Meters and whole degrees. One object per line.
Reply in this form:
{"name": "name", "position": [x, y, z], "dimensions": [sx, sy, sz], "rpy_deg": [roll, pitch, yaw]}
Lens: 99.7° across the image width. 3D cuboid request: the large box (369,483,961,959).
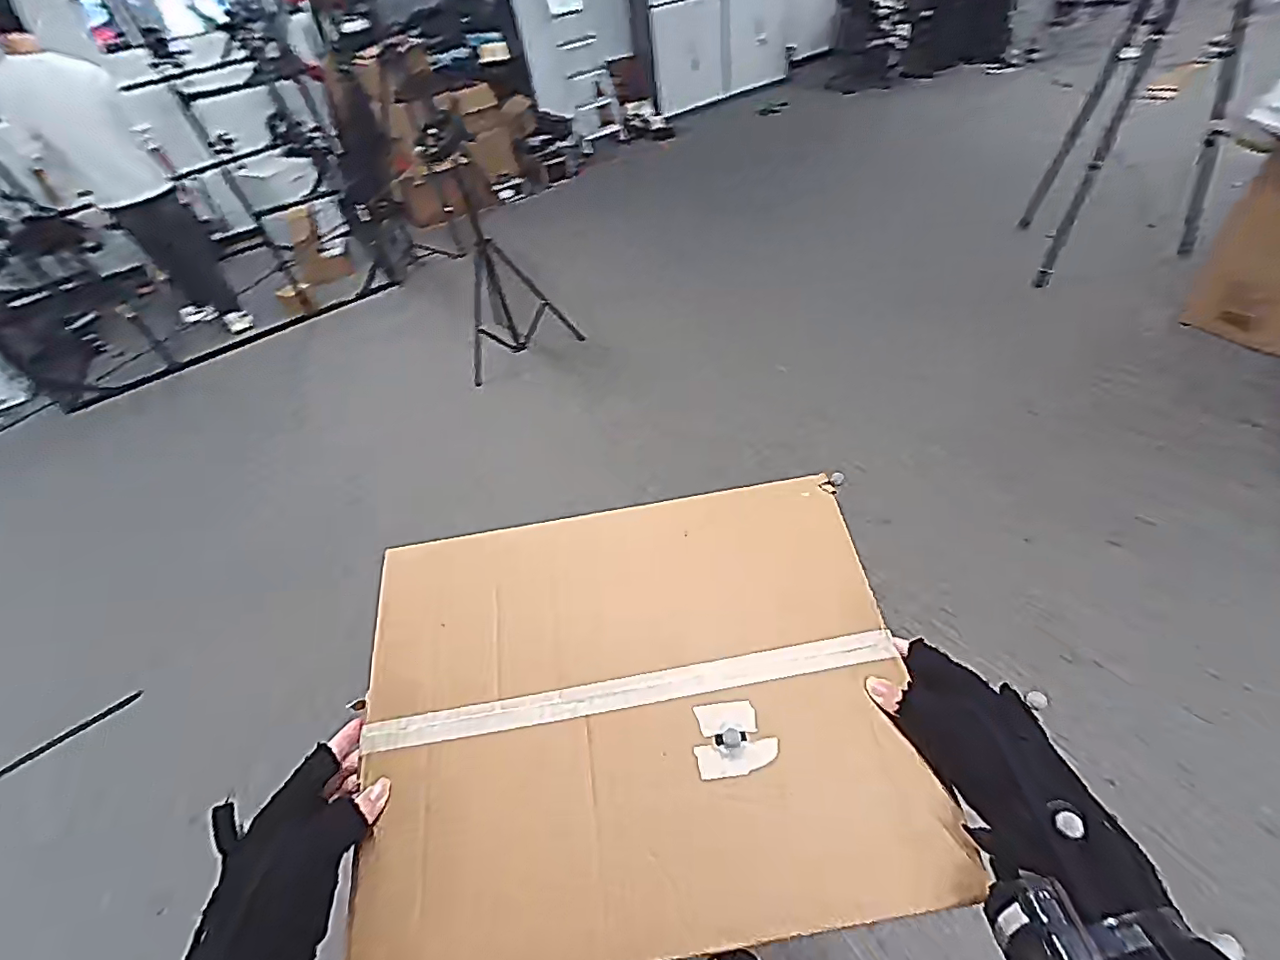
{"name": "large box", "position": [0.004, 0.245, 0.553], "dimensions": [0.408, 0.320, 0.320], "rpy_deg": [-10, 59, -1]}
